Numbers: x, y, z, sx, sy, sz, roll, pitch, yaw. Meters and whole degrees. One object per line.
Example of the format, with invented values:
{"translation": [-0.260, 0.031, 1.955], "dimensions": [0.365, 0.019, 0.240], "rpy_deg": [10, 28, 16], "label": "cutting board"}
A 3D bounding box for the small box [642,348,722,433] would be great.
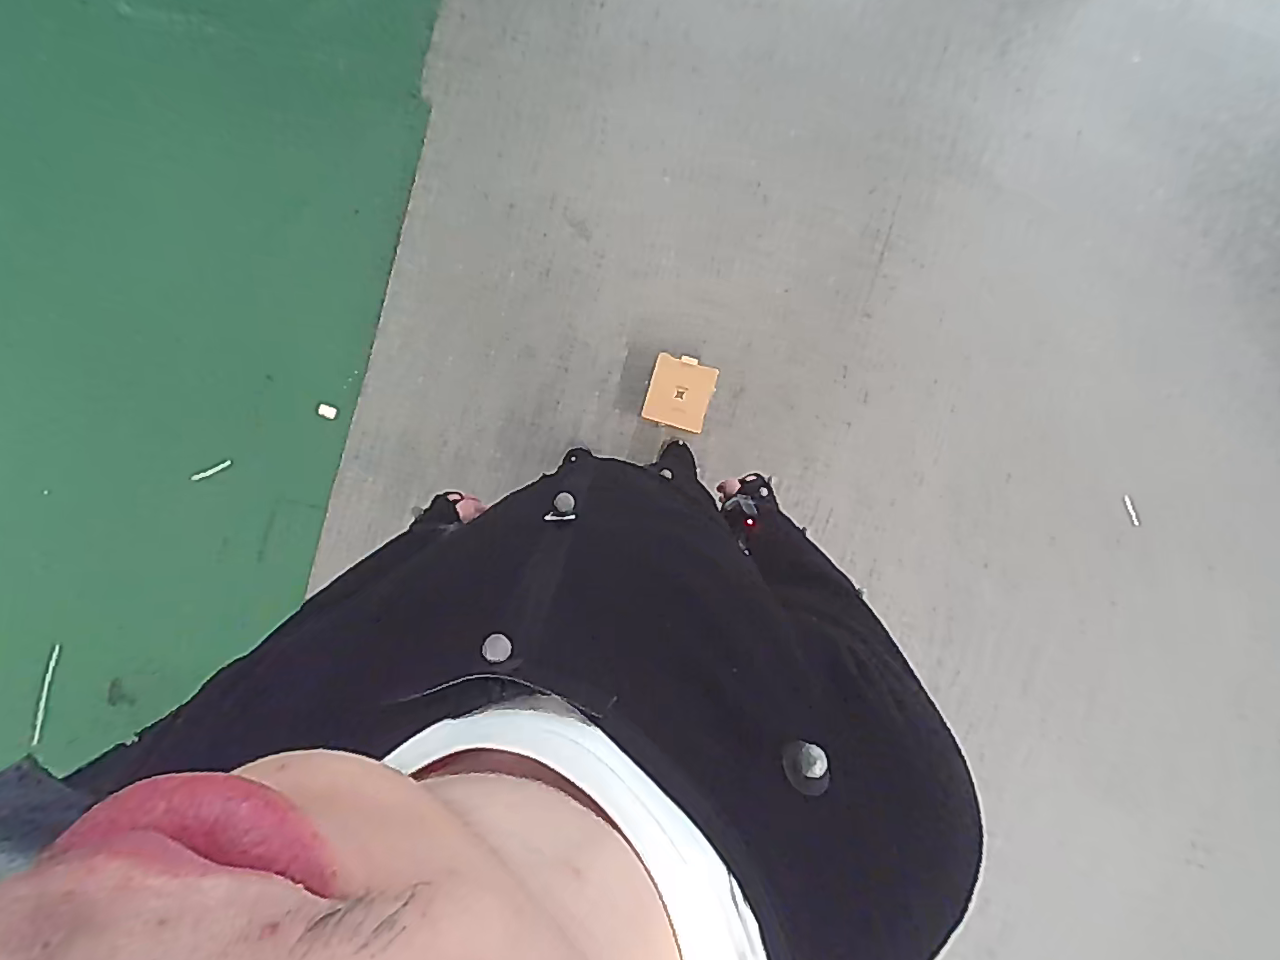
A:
{"translation": [0.107, -0.236, 1.469], "dimensions": [0.168, 0.176, 0.179], "rpy_deg": [18, 94, -1], "label": "small box"}
